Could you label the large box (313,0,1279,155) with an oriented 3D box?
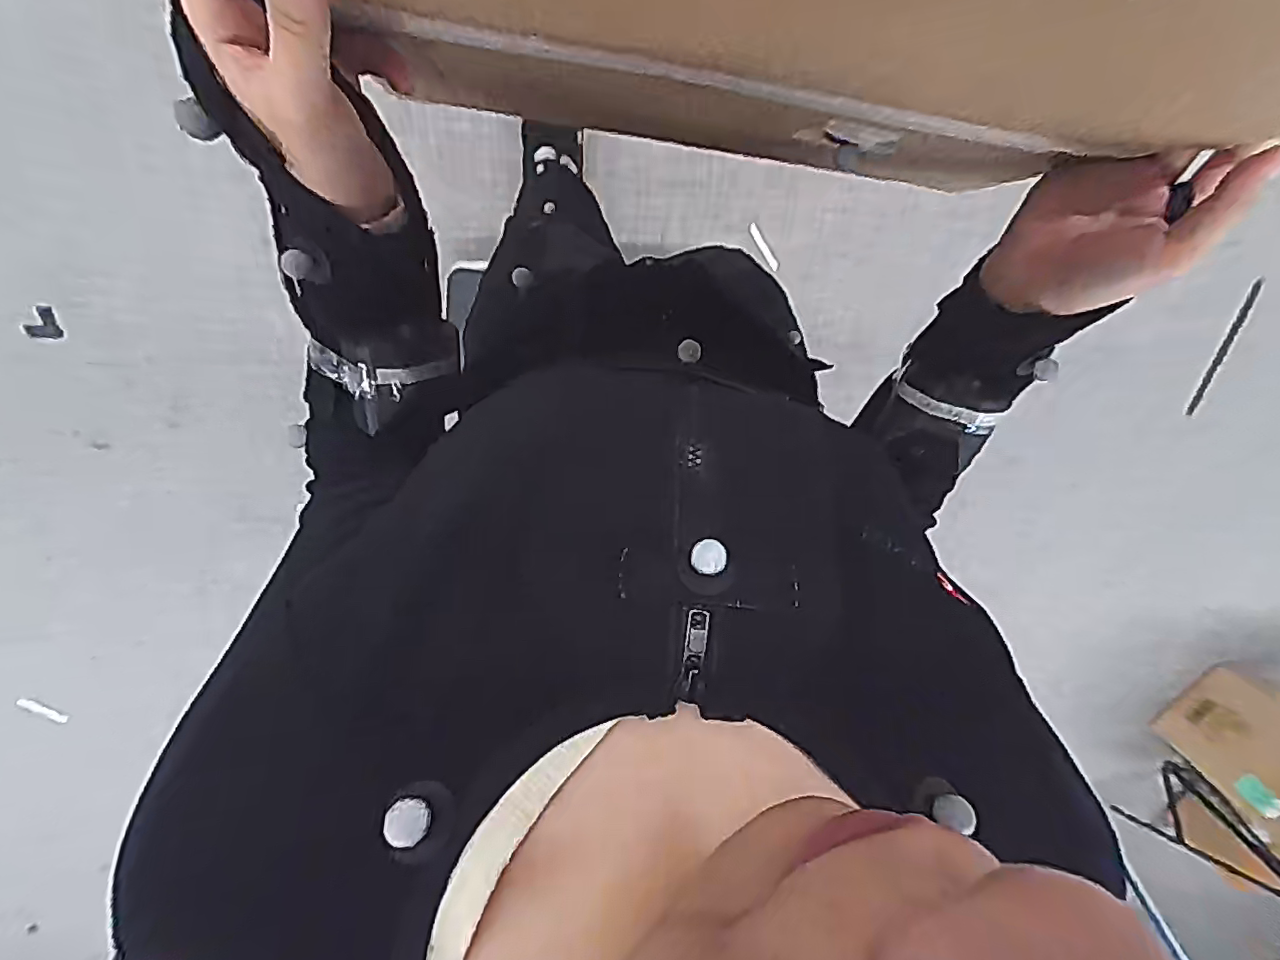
[{"bbox_3d":[0.067,-0.332,0.174,0.408,0.320,0.320,3,113,-8],"label":"large box"}]
